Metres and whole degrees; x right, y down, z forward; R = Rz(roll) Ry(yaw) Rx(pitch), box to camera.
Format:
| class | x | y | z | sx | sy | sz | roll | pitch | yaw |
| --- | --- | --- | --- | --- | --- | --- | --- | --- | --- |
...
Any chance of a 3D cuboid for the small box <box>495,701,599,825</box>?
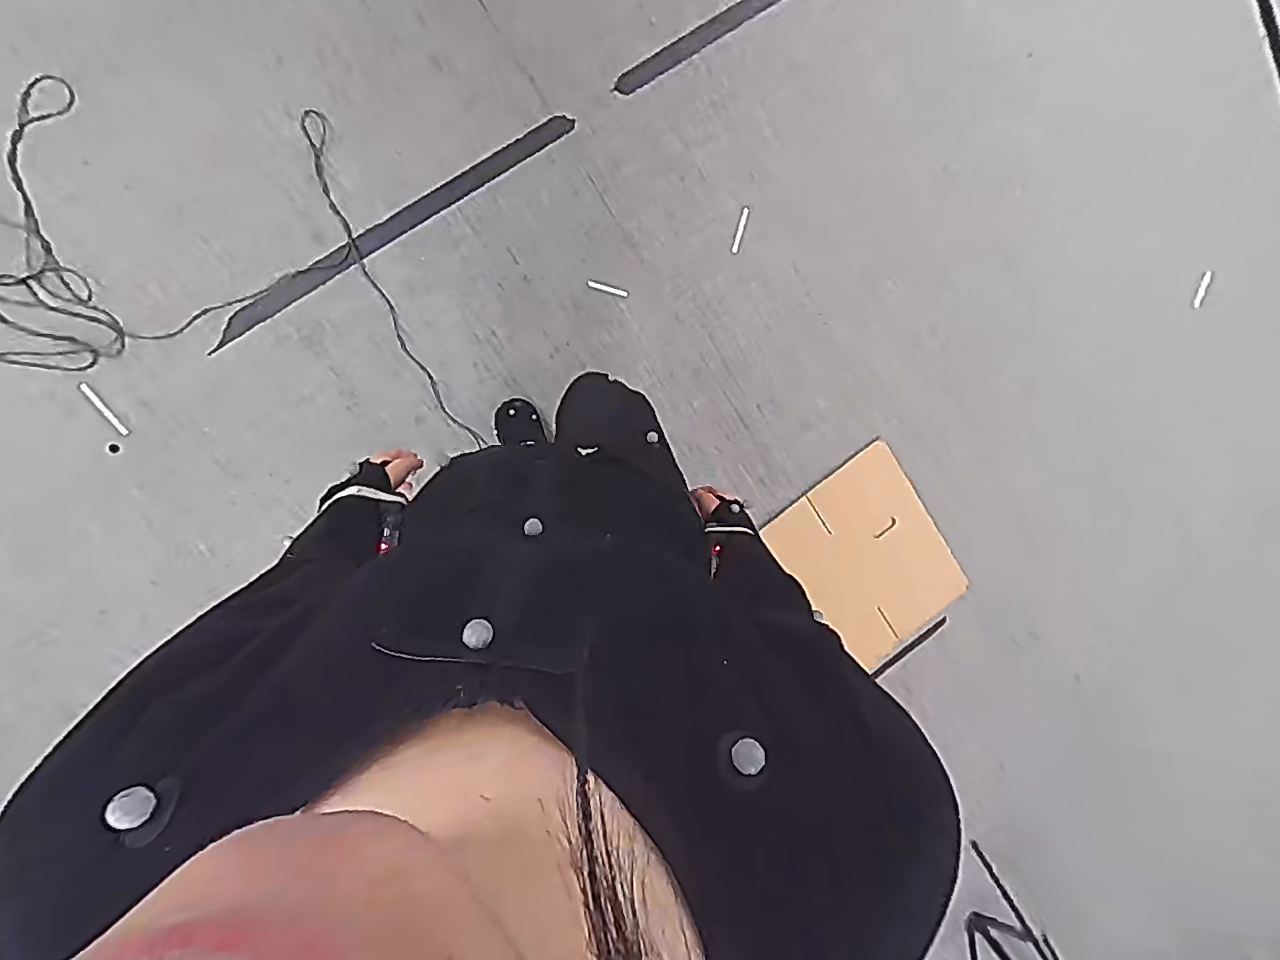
| class | x | y | z | sx | sy | sz | roll | pitch | yaw |
| --- | --- | --- | --- | --- | --- | --- | --- | --- | --- |
| small box | -0.200 | 0.601 | 1.166 | 0.179 | 0.176 | 0.168 | 14 | 95 | -11 |
